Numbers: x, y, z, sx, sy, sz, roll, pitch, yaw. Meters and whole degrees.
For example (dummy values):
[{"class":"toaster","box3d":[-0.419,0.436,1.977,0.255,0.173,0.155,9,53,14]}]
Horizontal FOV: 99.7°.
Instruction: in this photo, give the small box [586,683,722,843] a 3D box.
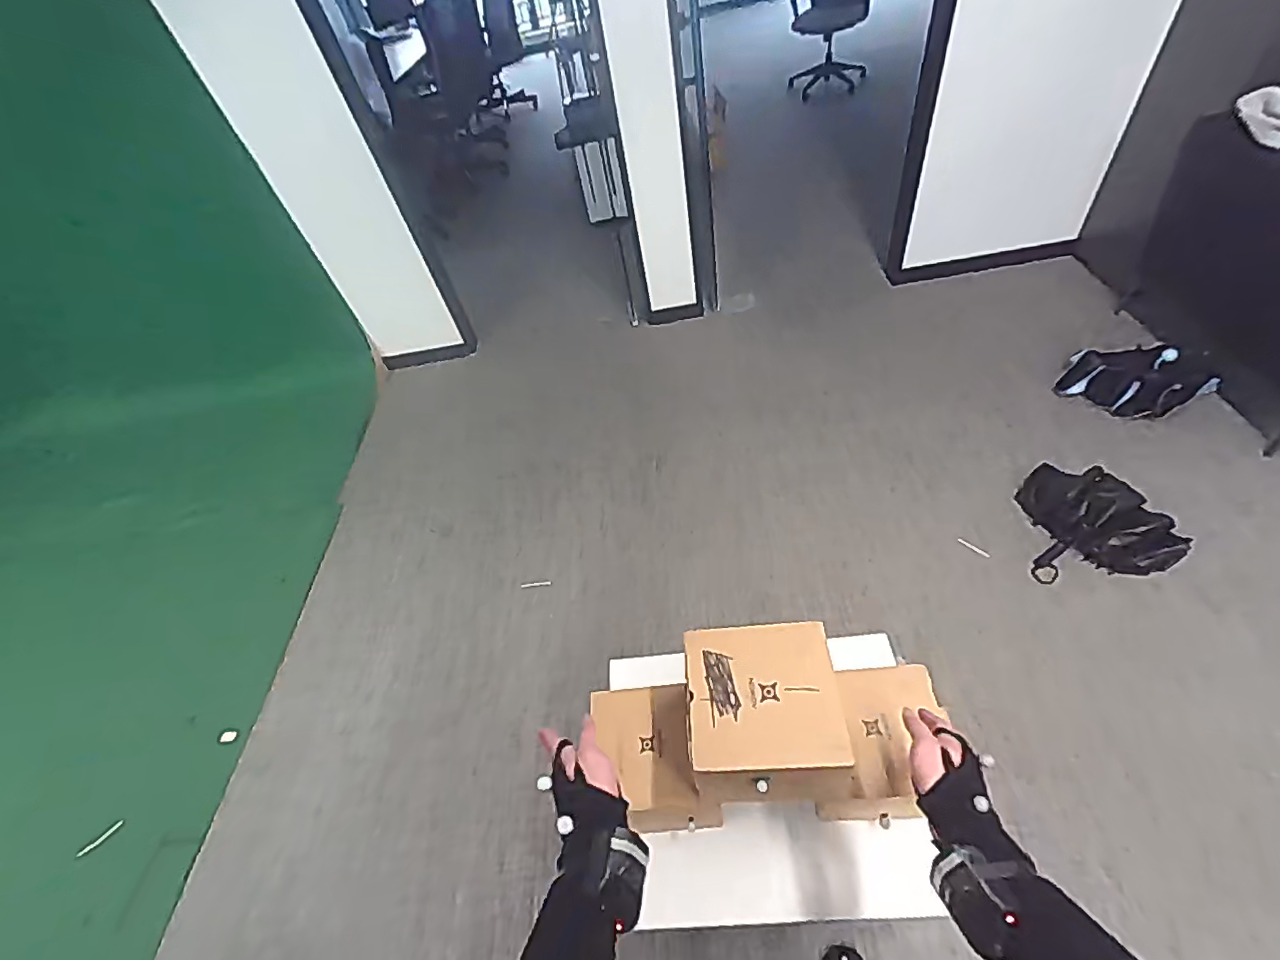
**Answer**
[{"class":"small box","box3d":[0.021,0.419,0.798,0.179,0.176,0.168,-8,47,2]}]

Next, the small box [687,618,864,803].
[{"class":"small box","box3d":[0.155,0.289,0.670,0.179,0.176,0.168,-5,48,5]}]

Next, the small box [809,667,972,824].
[{"class":"small box","box3d":[0.331,0.385,0.779,0.179,0.176,0.168,-7,48,5]}]
